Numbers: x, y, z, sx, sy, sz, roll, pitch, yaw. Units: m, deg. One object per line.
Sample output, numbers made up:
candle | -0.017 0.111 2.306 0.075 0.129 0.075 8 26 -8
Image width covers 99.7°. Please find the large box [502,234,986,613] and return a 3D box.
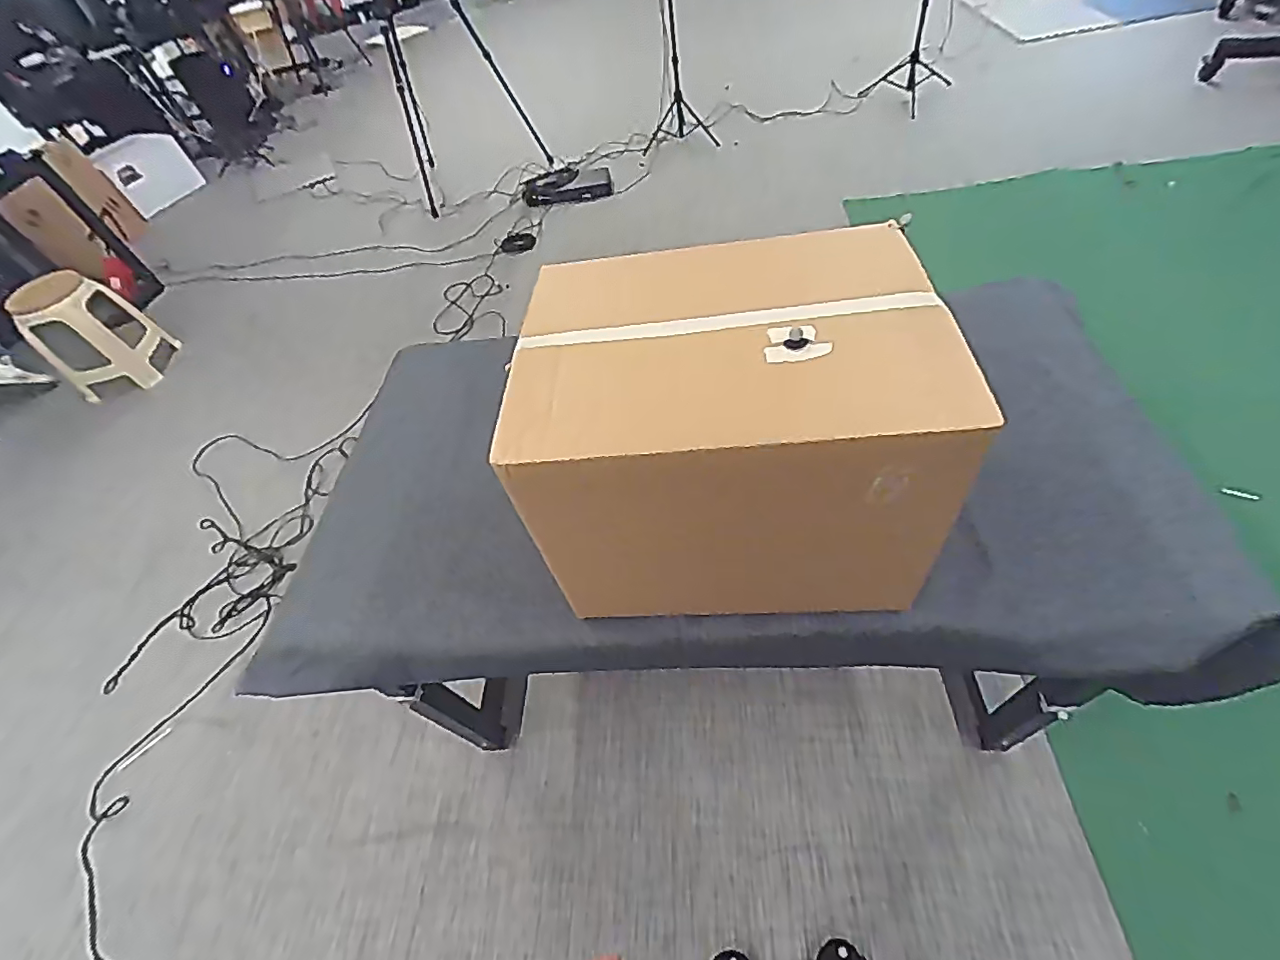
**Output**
large box | 0.097 -0.053 0.648 0.408 0.320 0.320 -4 51 7
